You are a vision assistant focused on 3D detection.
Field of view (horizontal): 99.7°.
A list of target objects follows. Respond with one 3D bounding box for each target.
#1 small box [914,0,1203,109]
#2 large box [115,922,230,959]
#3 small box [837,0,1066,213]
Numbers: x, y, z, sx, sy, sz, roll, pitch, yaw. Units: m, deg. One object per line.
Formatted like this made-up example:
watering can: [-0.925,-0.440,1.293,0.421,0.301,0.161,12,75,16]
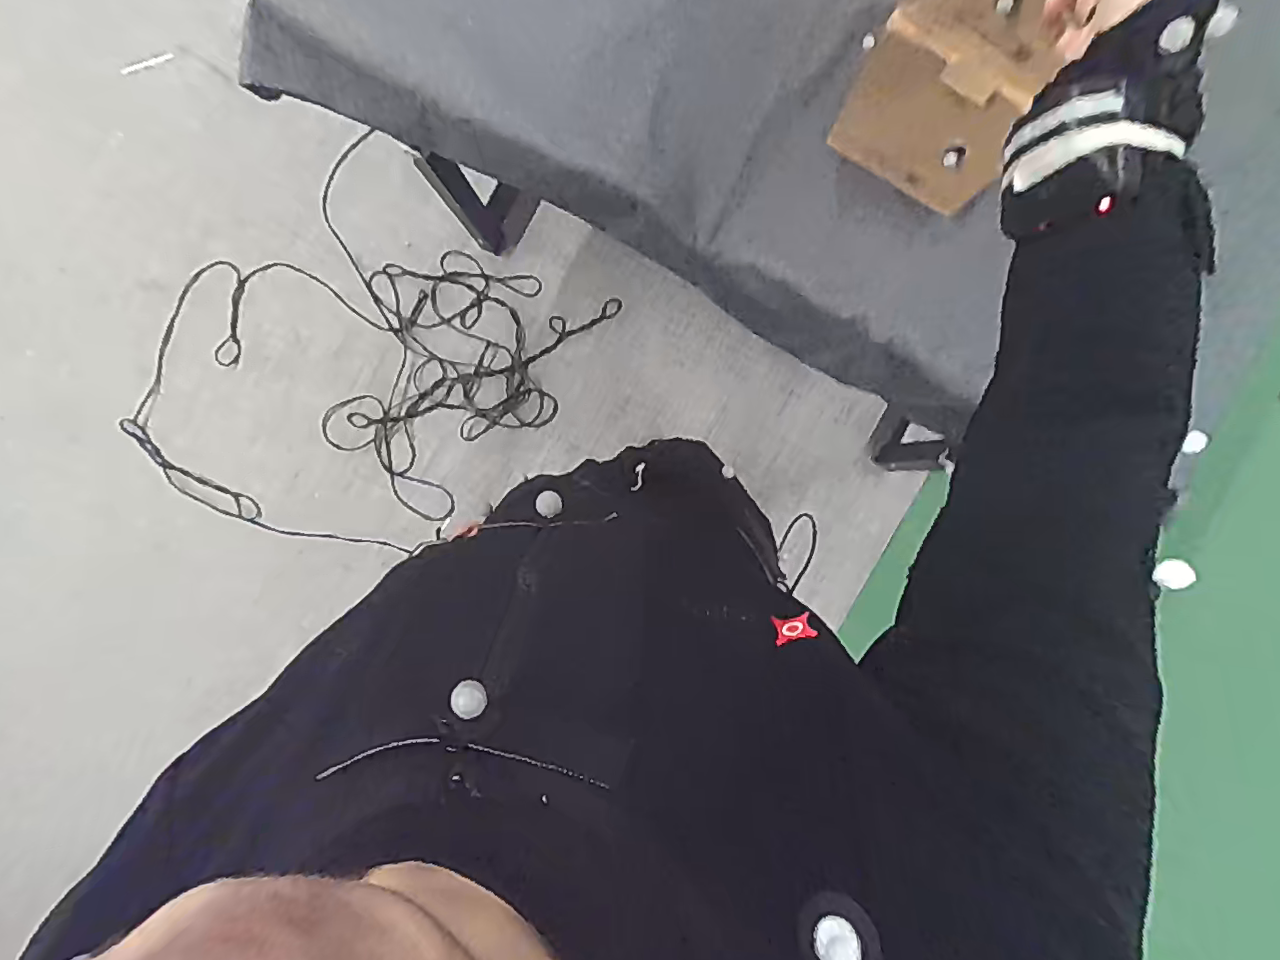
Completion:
small box: [0.329,-0.415,0.368,0.168,0.176,0.179,33,92,-1]
large box: [-1.153,1.371,1.262,0.408,0.320,0.320,28,91,2]
small box: [0.321,-0.406,0.532,0.168,0.176,0.179,31,90,0]
